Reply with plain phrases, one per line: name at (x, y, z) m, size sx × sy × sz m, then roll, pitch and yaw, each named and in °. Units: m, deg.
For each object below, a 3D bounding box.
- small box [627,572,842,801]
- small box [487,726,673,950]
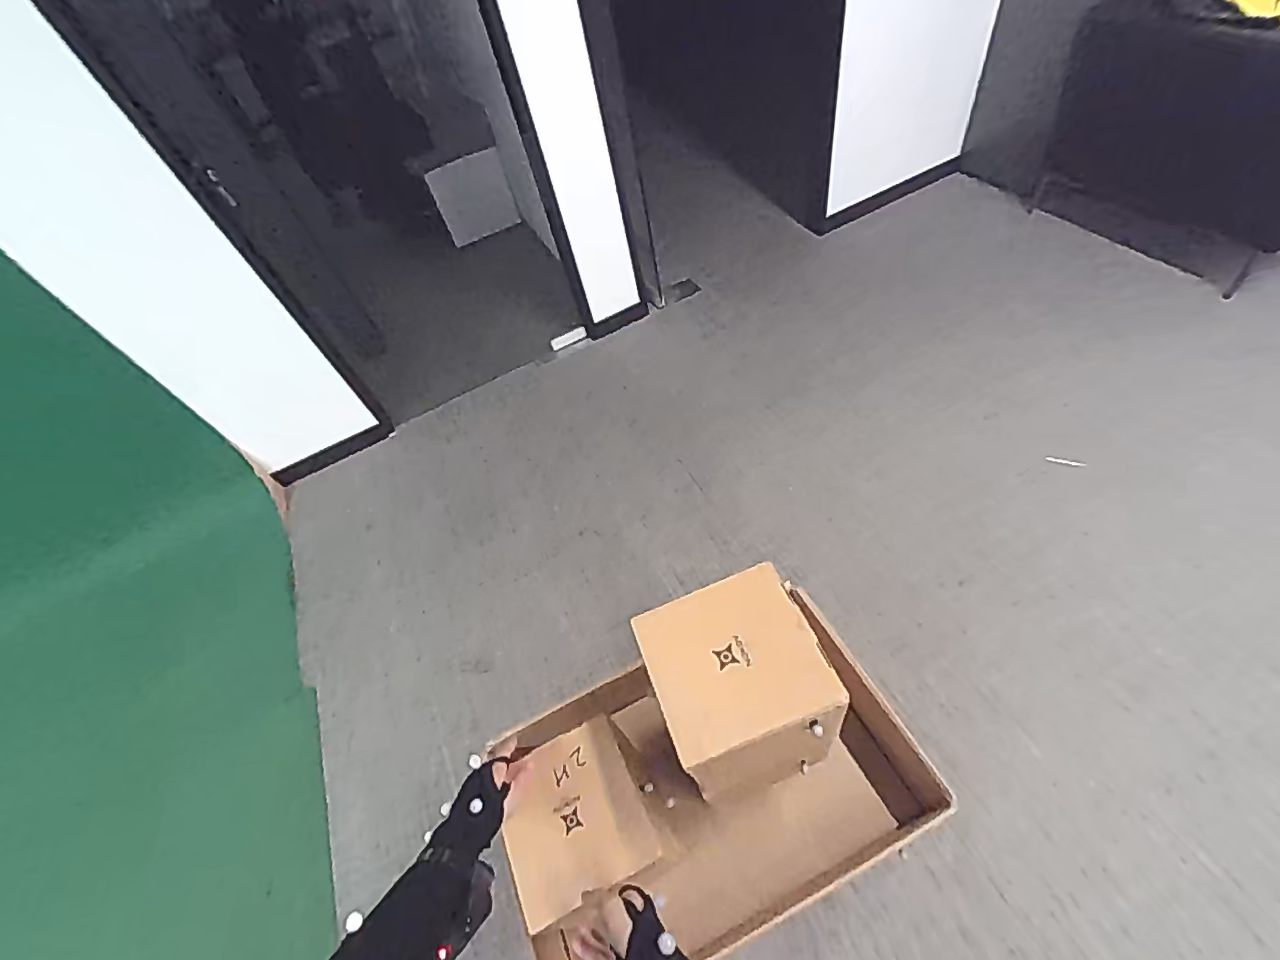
small box at (0.106, 0.240, 0.616) m, size 0.179 × 0.176 × 0.168 m, roll -22°, pitch 50°, yaw -3°
small box at (-0.071, 0.454, 0.697) m, size 0.168 × 0.176 × 0.179 m, roll -26°, pitch 52°, yaw -7°
